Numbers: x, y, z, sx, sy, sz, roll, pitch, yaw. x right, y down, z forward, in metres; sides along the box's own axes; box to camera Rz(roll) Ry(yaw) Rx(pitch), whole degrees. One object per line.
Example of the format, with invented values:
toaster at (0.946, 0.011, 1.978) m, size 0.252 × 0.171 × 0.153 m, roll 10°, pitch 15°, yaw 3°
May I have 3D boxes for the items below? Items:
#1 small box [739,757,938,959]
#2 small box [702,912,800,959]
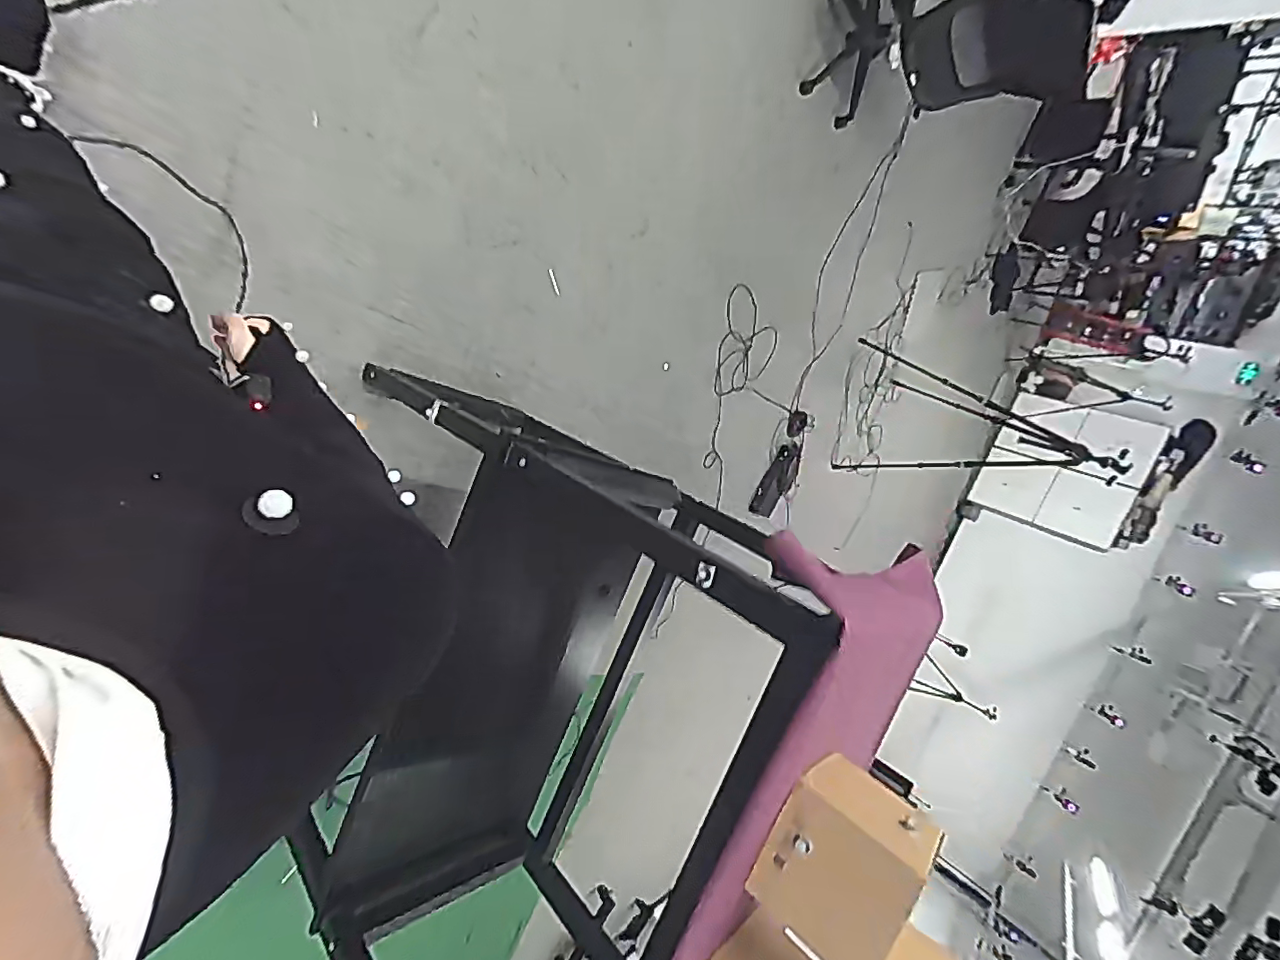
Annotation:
small box at (0.262, 0.499, 0.715) m, size 0.179 × 0.176 × 0.168 m, roll 21°, pitch 94°, yaw -52°
small box at (0.151, 0.752, 0.737) m, size 0.179 × 0.176 × 0.168 m, roll 19°, pitch 96°, yaw -52°
